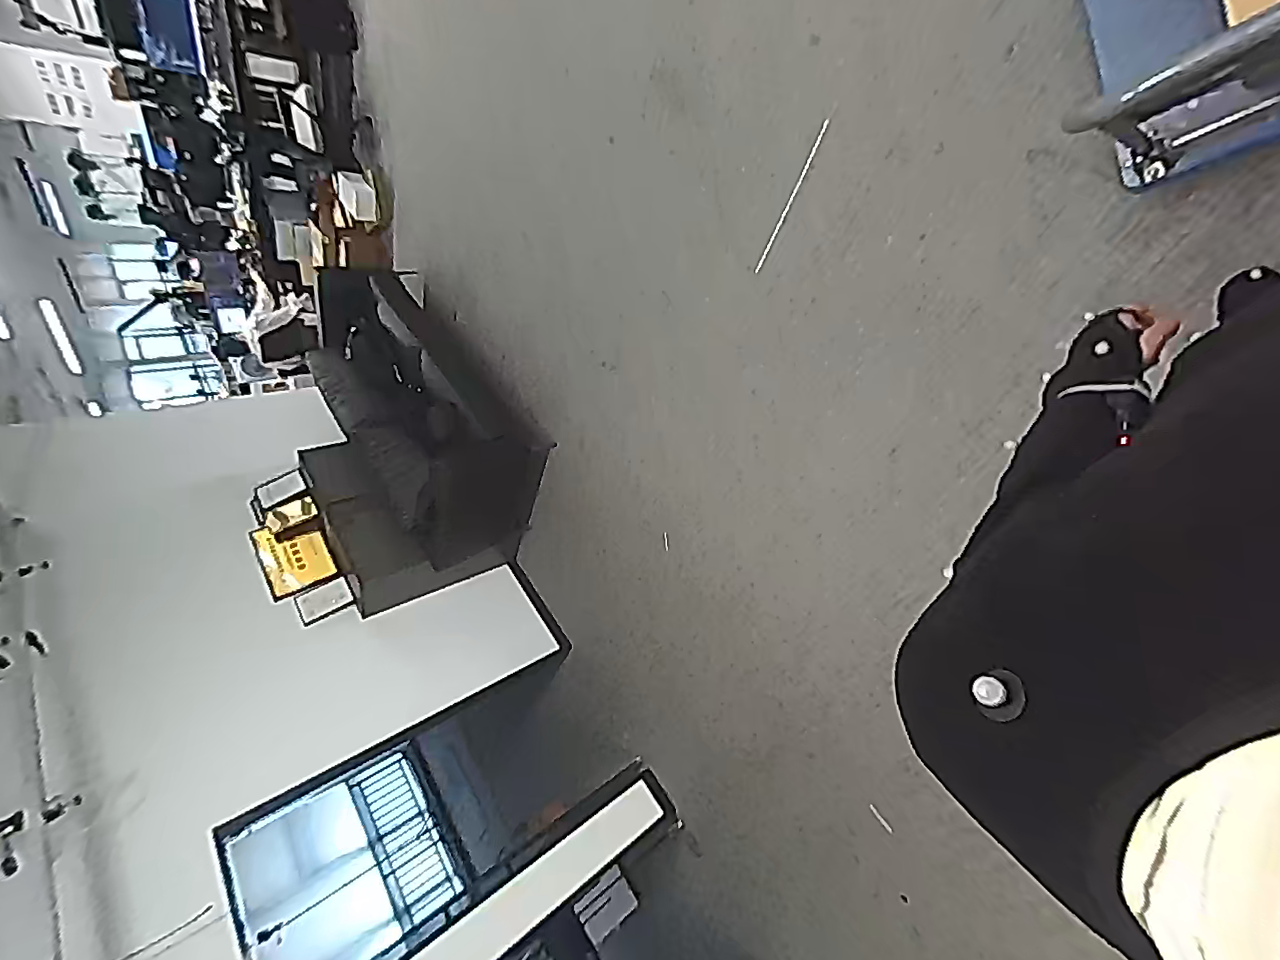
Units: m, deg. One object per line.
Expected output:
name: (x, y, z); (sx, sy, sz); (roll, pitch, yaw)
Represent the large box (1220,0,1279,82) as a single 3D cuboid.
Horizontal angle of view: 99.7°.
large box: (0.962, -0.845, 0.700); (0.320, 0.320, 0.408); (-11, 94, 51)
